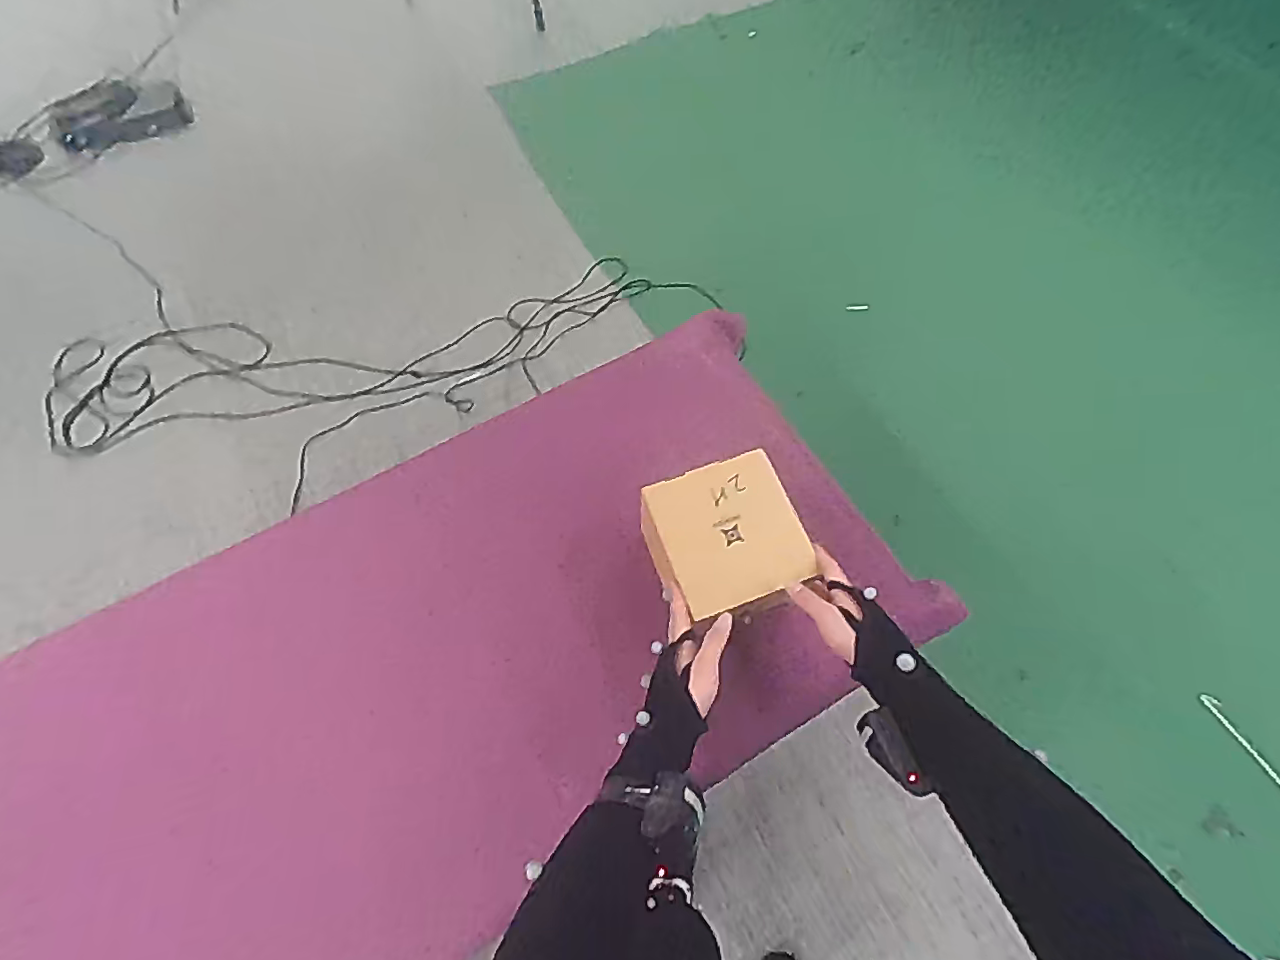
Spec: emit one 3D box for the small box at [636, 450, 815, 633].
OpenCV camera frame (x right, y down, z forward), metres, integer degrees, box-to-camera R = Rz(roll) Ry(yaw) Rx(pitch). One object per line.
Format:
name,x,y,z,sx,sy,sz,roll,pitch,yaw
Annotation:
small box,0.100,0.091,0.710,0.168,0.176,0.179,-18,68,-7

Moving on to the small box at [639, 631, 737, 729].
small box,0.112,0.485,1.331,0.168,0.176,0.179,-31,69,-13
